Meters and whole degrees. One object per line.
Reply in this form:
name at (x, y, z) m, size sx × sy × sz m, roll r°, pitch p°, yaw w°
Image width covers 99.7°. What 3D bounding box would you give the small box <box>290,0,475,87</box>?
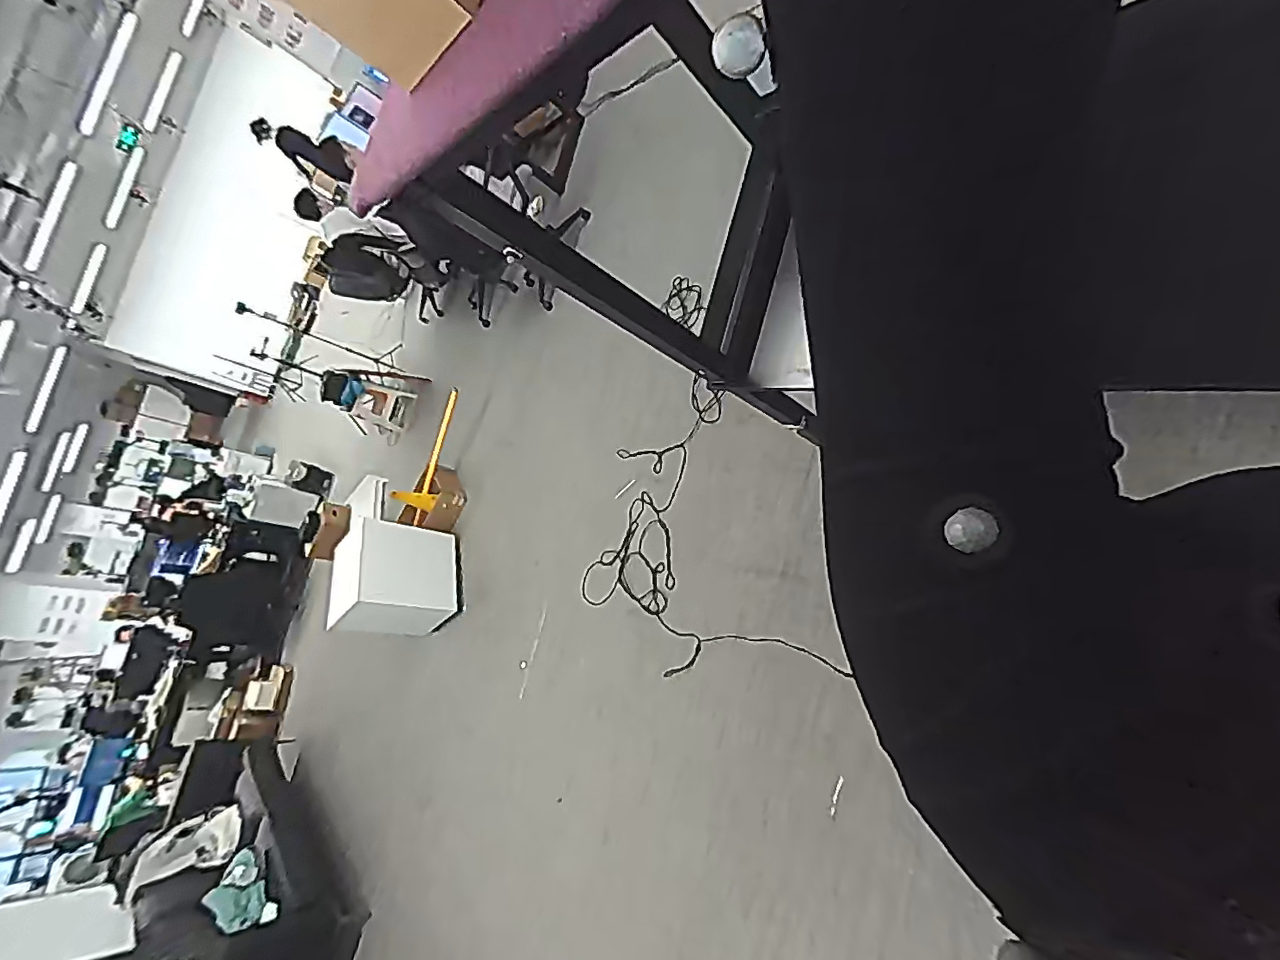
small box at (-0.246, -0.528, 0.512) m, size 0.179 × 0.176 × 0.168 m, roll 10°, pitch 83°, yaw 48°
